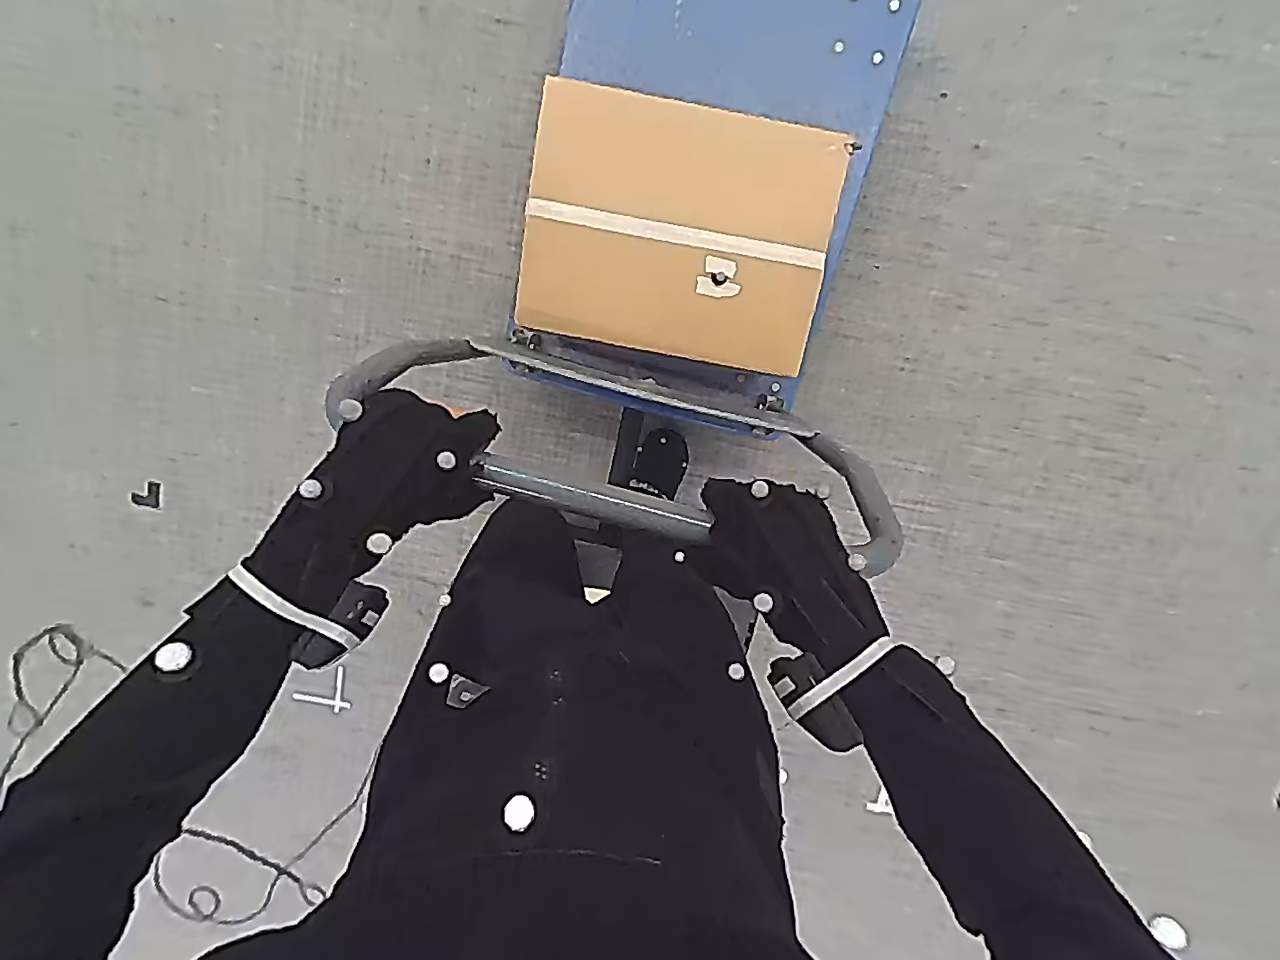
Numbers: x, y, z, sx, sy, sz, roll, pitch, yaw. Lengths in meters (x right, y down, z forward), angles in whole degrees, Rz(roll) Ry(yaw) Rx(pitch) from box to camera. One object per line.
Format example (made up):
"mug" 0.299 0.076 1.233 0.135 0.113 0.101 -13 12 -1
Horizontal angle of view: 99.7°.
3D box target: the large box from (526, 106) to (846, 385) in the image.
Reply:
"large box" 0.056 -0.345 0.891 0.408 0.320 0.320 11 102 -2
